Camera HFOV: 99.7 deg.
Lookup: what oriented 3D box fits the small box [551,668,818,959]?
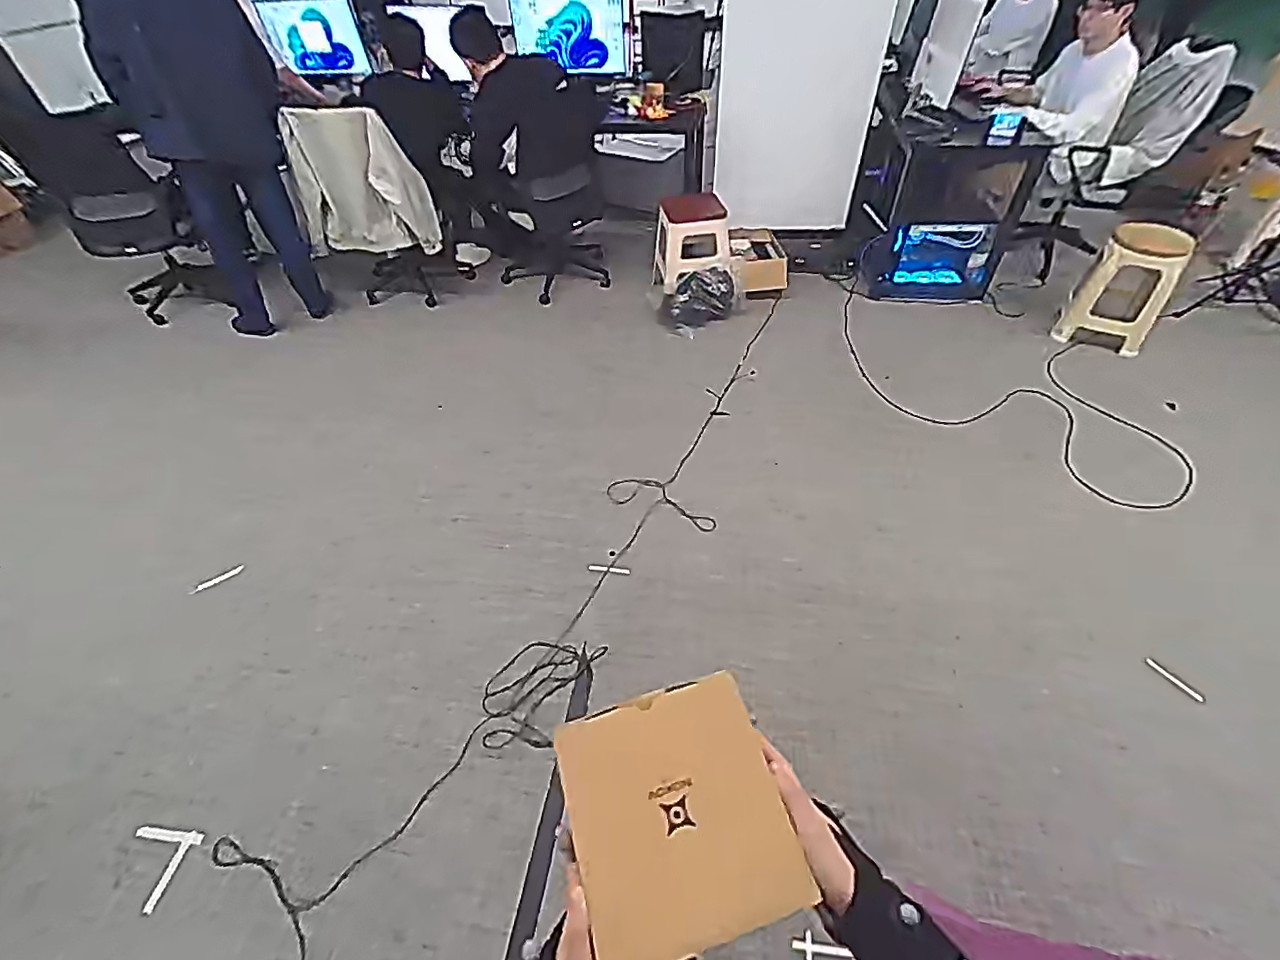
[{"bbox_3d":[0.030,0.302,0.485,0.168,0.176,0.179,-16,52,-10],"label":"small box"}]
